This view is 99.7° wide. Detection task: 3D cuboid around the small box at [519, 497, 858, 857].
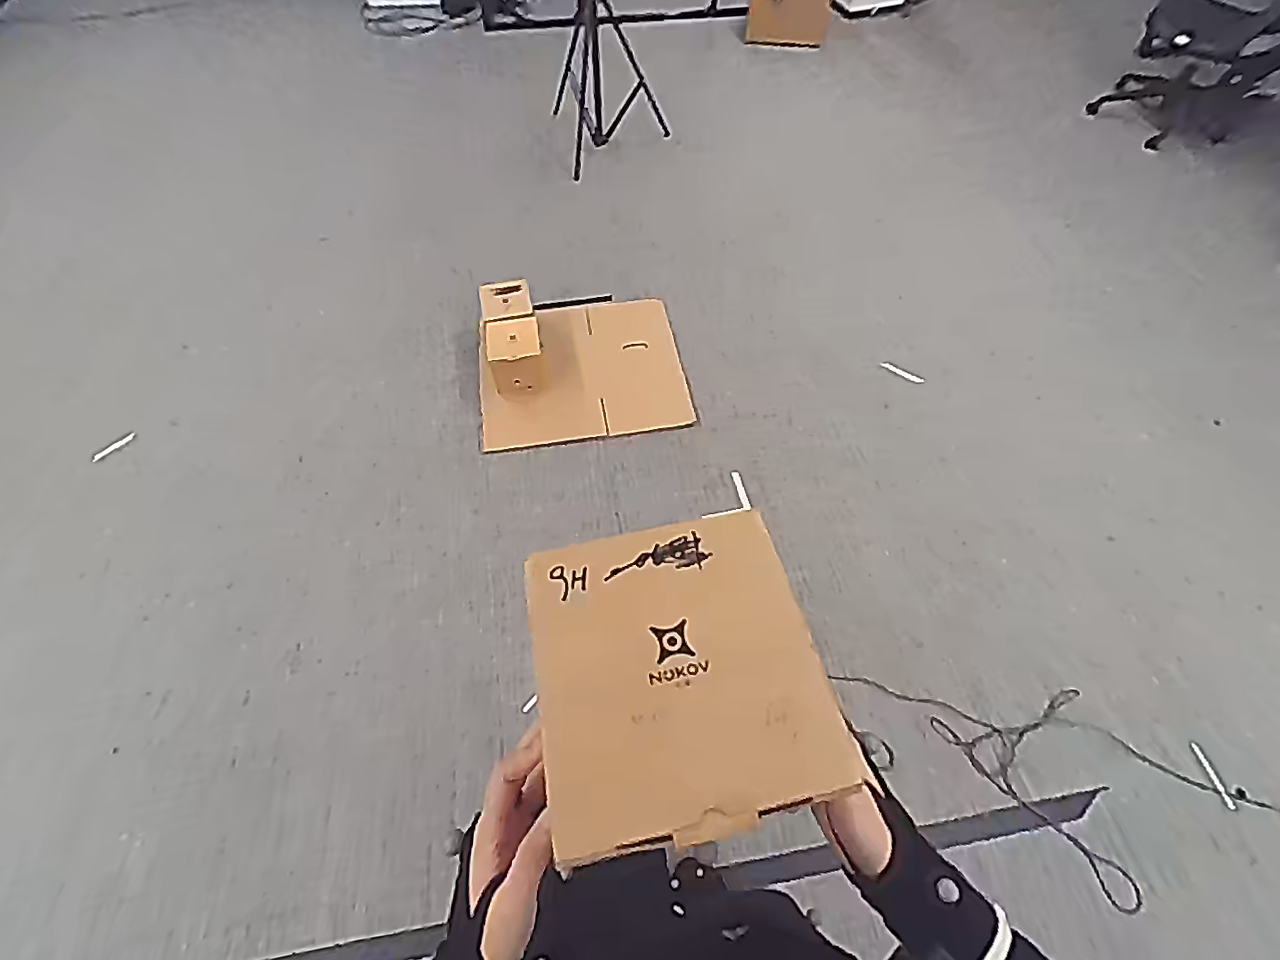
[{"bbox_3d":[0.019,0.139,0.380,0.168,0.176,0.179,-10,57,-7],"label":"small box"}]
